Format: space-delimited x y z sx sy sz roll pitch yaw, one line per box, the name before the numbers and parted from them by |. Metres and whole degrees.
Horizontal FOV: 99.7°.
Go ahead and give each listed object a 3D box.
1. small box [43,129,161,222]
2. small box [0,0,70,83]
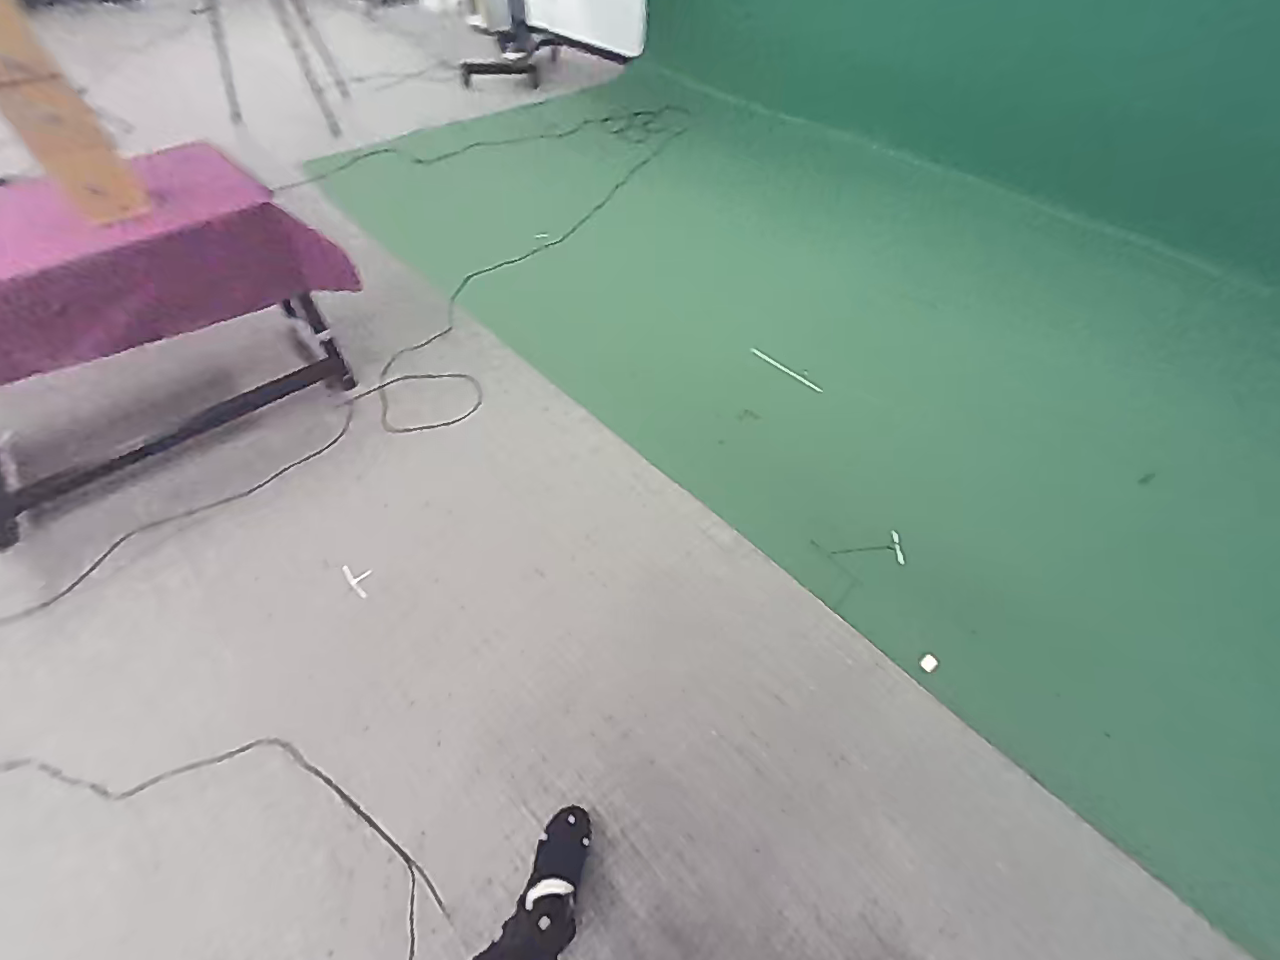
small box | -1.497 -0.848 1.514 0.168 0.176 0.179 -33 58 -24
small box | -1.494 -1.050 1.254 0.168 0.176 0.179 -35 60 -24
